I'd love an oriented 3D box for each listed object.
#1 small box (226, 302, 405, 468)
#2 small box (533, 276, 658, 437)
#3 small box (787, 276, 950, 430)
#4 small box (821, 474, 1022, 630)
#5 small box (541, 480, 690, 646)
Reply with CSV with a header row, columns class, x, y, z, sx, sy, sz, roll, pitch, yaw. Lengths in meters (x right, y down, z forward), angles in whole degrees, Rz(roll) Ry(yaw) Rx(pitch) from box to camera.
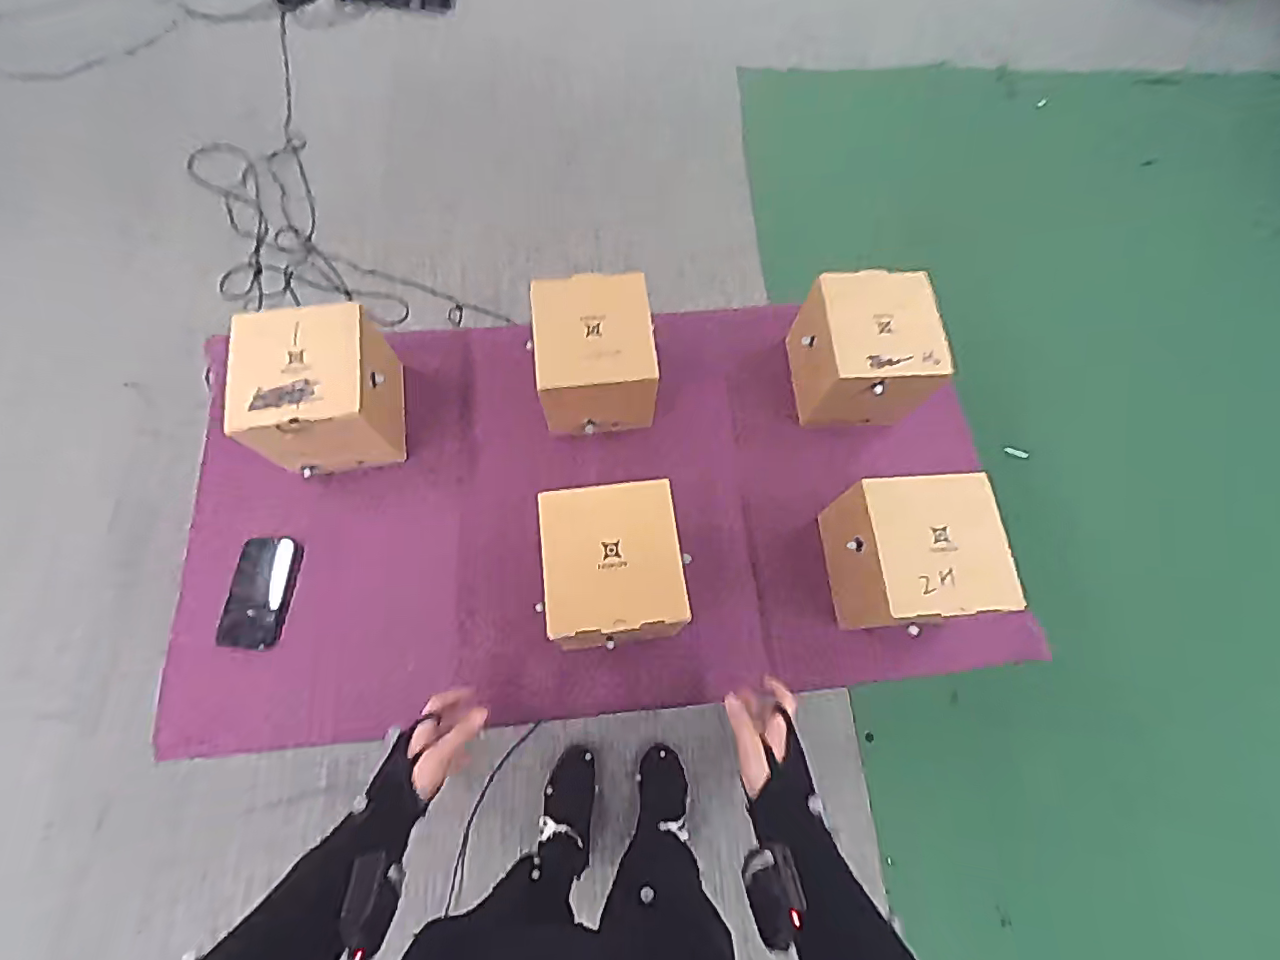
class,x,y,z,sx,sy,sz,roll,pitch,yaw
small box,-0.451,-0.126,0.779,0.168,0.176,0.179,-8,70,-7
small box,-0.068,-0.182,0.823,0.168,0.176,0.179,-5,71,-4
small box,0.342,-0.193,0.848,0.168,0.176,0.179,-2,70,-3
small box,0.362,0.104,0.736,0.168,0.176,0.179,-2,70,-2
small box,-0.038,0.115,0.715,0.168,0.176,0.179,-6,70,-6
